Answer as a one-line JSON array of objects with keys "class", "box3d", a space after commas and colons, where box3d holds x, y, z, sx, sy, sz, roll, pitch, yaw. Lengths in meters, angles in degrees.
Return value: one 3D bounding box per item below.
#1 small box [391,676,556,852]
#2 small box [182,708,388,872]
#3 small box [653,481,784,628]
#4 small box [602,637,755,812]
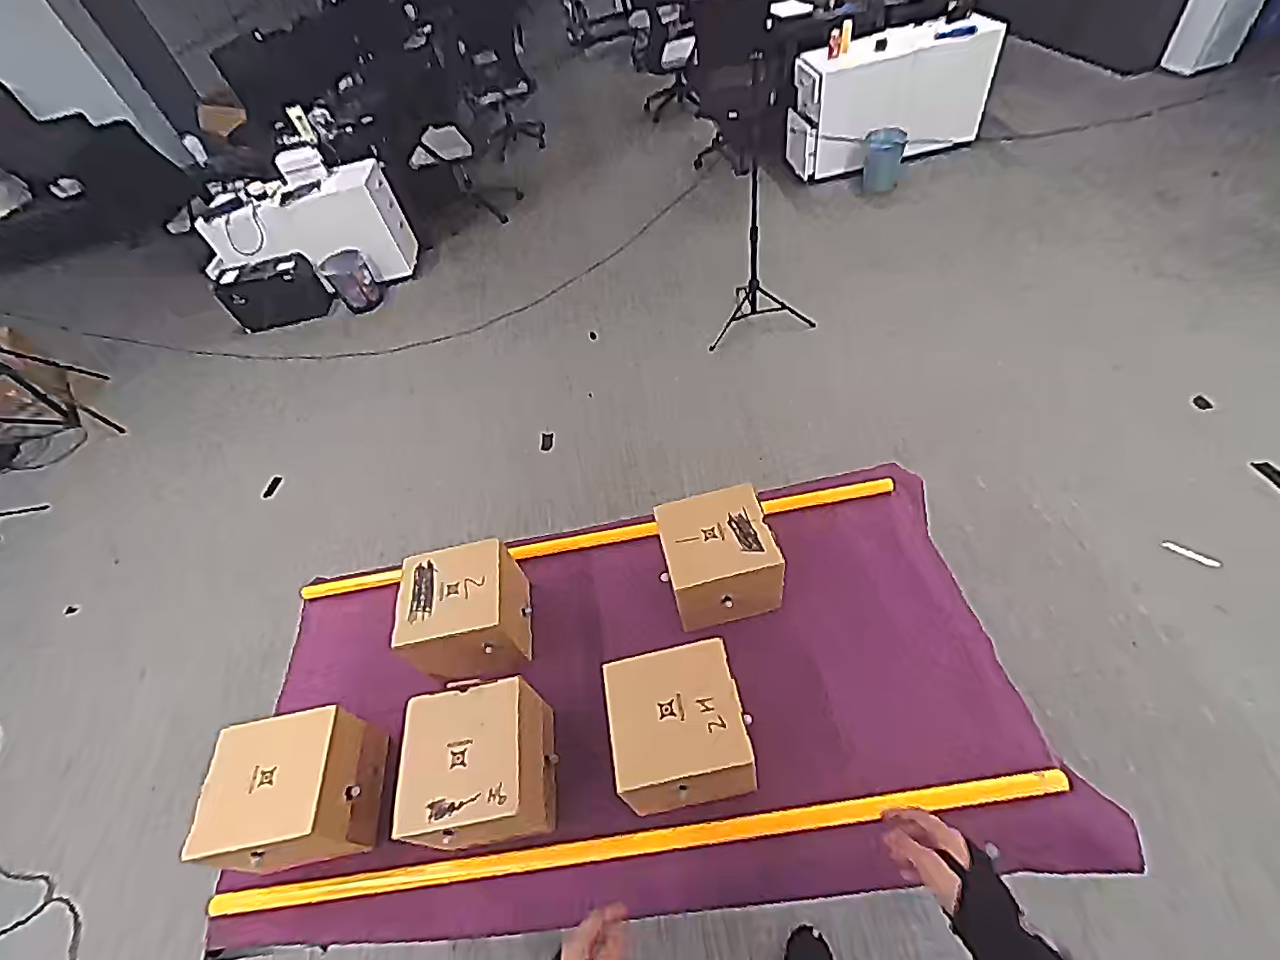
[{"class": "small box", "box3d": [-0.224, 0.410, 0.777, 0.168, 0.176, 0.179, -13, 49, 4]}, {"class": "small box", "box3d": [-0.501, 0.460, 0.798, 0.179, 0.176, 0.168, -13, 49, 1]}, {"class": "small box", "box3d": [0.132, 0.132, 0.925, 0.179, 0.176, 0.168, -15, 51, 1]}, {"class": "small box", "box3d": [0.056, 0.349, 0.764, 0.179, 0.176, 0.168, -14, 49, 2]}]
